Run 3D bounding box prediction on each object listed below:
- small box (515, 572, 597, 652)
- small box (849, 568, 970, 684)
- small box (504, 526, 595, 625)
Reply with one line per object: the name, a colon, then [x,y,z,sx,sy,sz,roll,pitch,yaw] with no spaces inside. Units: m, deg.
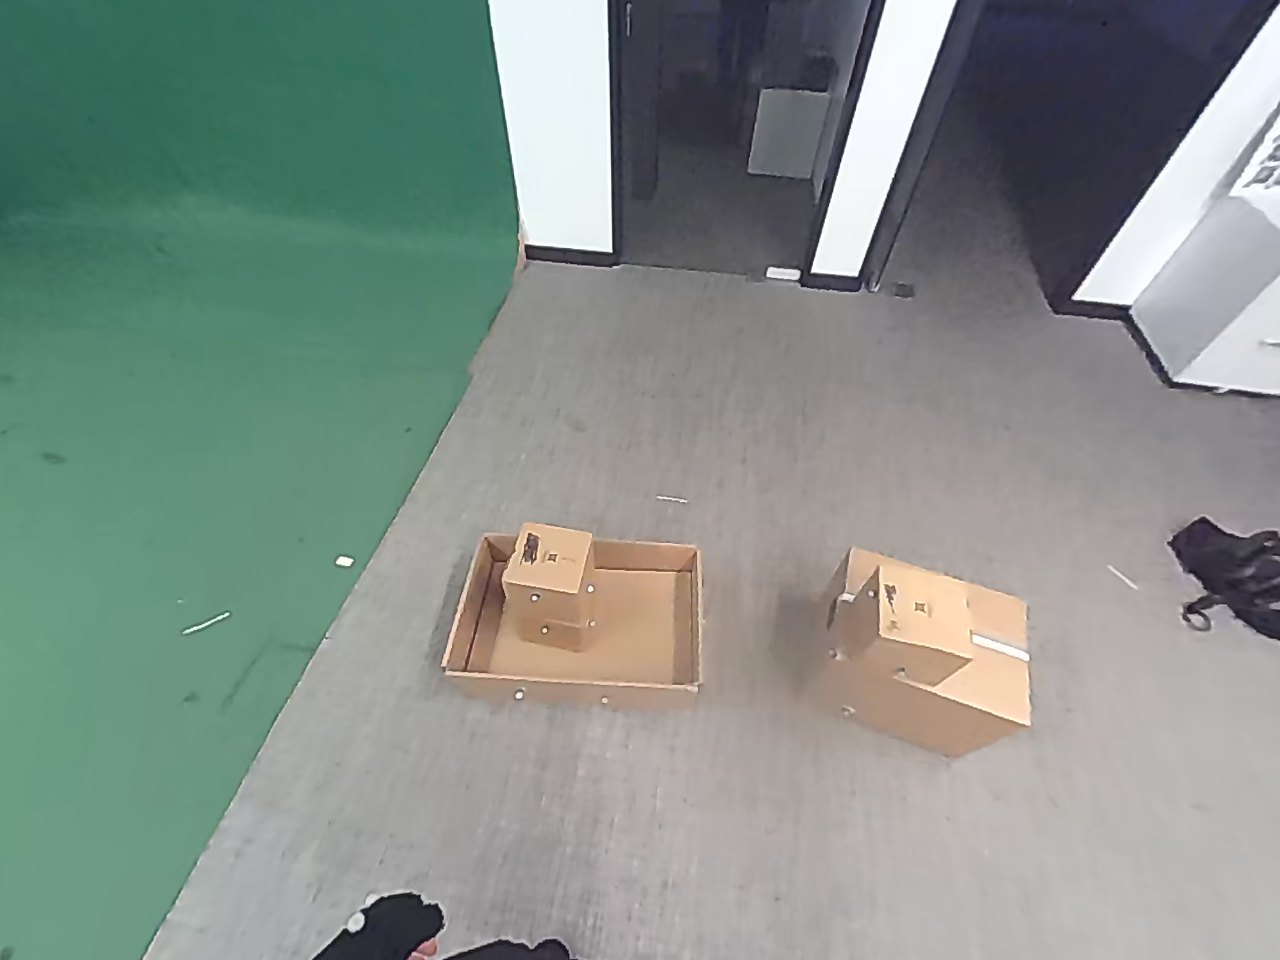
small box: [-0.216,0.342,1.442,0.179,0.176,0.168,10,51,3]
small box: [0.560,0.313,1.142,0.179,0.176,0.168,13,53,8]
small box: [-0.212,0.236,1.316,0.179,0.176,0.168,9,51,3]
